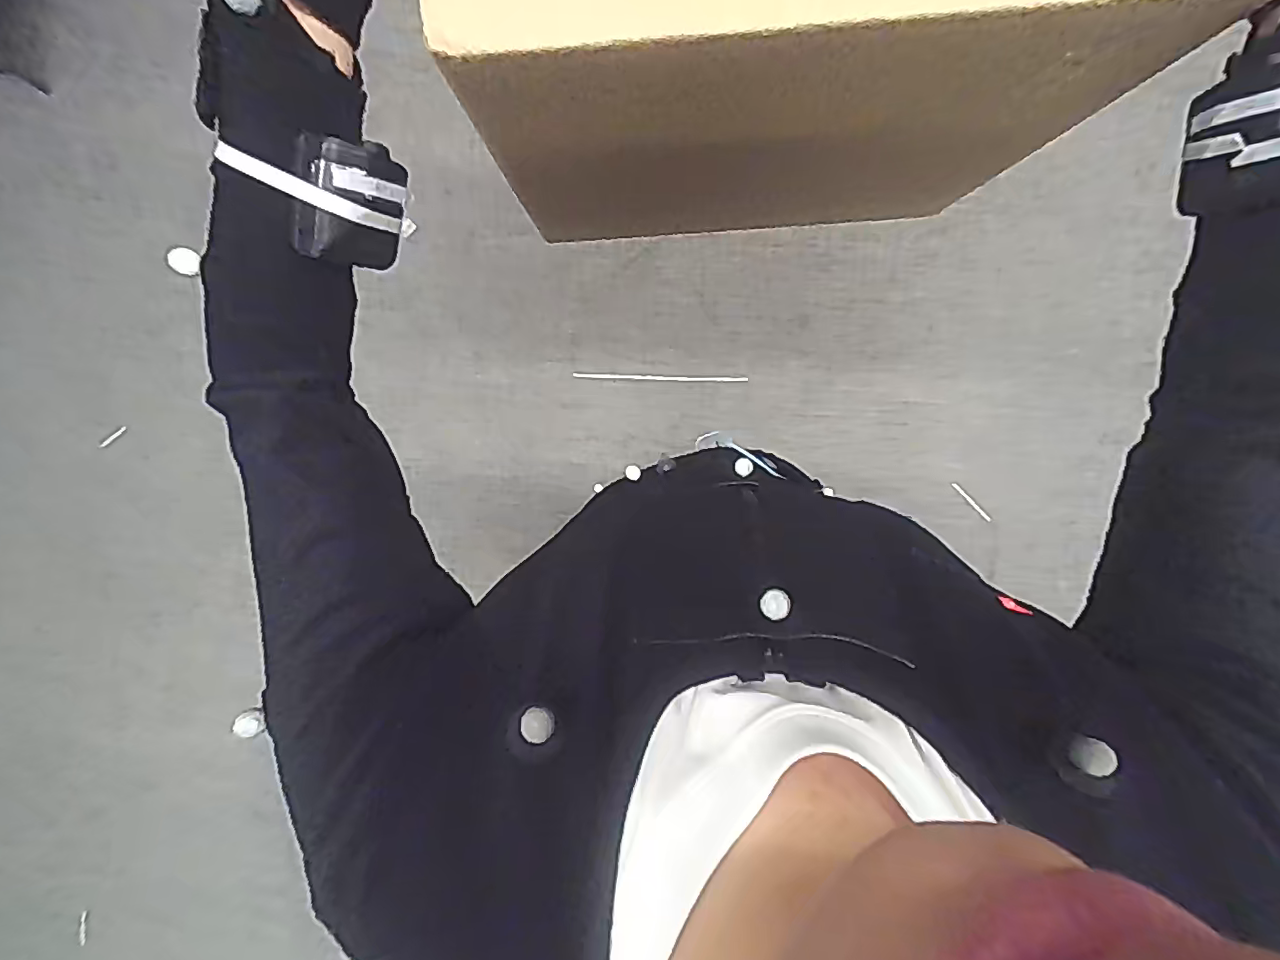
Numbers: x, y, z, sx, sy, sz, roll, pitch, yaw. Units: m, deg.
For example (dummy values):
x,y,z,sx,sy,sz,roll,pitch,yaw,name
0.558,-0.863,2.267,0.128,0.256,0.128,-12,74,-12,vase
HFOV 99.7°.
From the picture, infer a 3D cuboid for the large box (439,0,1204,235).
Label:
x,y,z,sx,sy,sz,roll,pitch,yaw,name
0.087,-0.395,0.384,0.408,0.320,0.320,-4,98,0,large box
